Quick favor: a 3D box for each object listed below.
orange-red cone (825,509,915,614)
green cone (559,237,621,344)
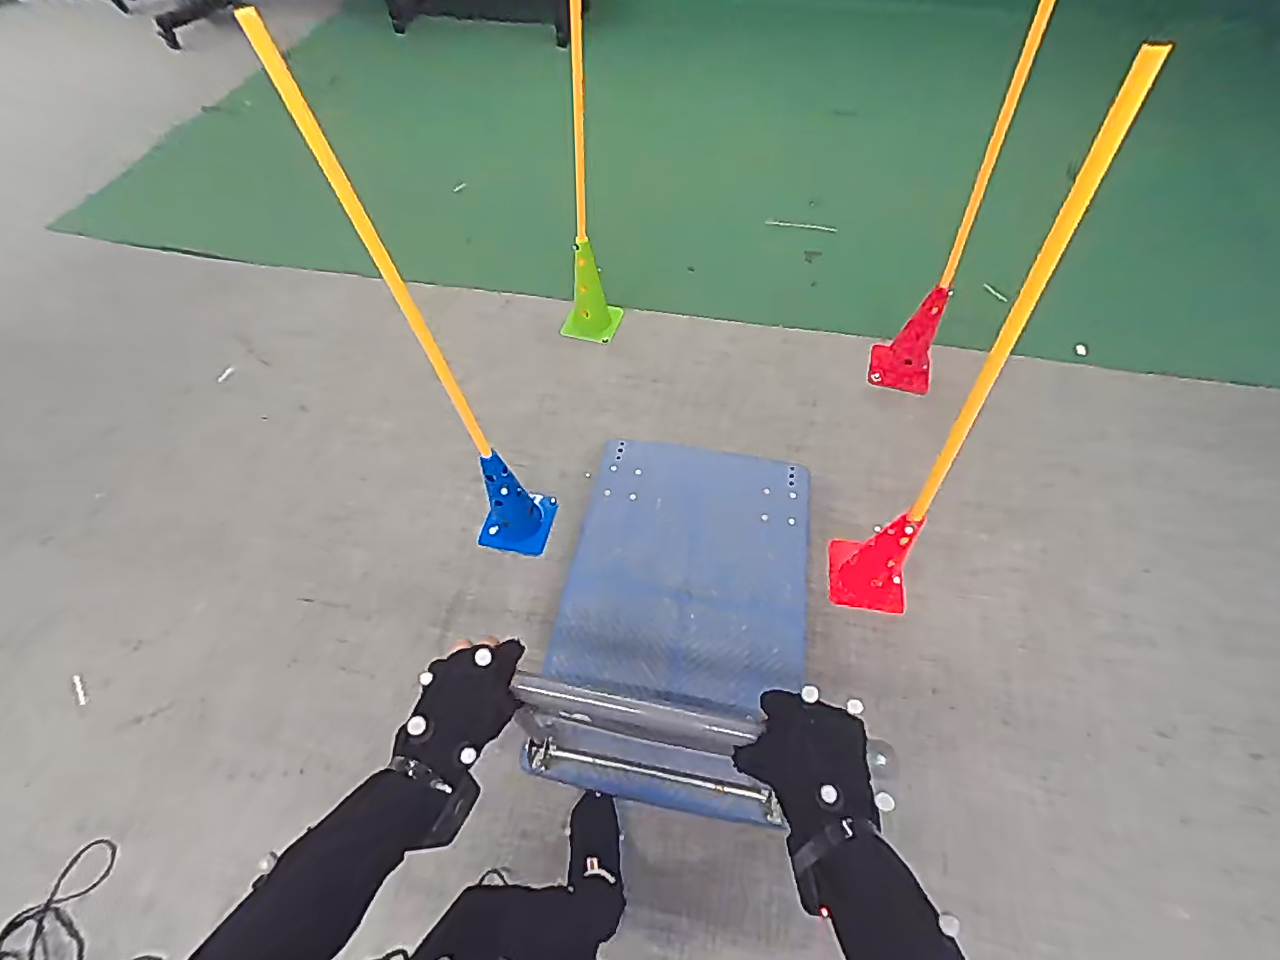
[{"bbox_3d":[0.613,0.178,1.376,0.199,0.360,0.198,8,58,8],"label":"orange-red cone"},{"bbox_3d":[-0.197,-0.698,1.939,0.202,0.368,0.200,13,59,10],"label":"green cone"}]
